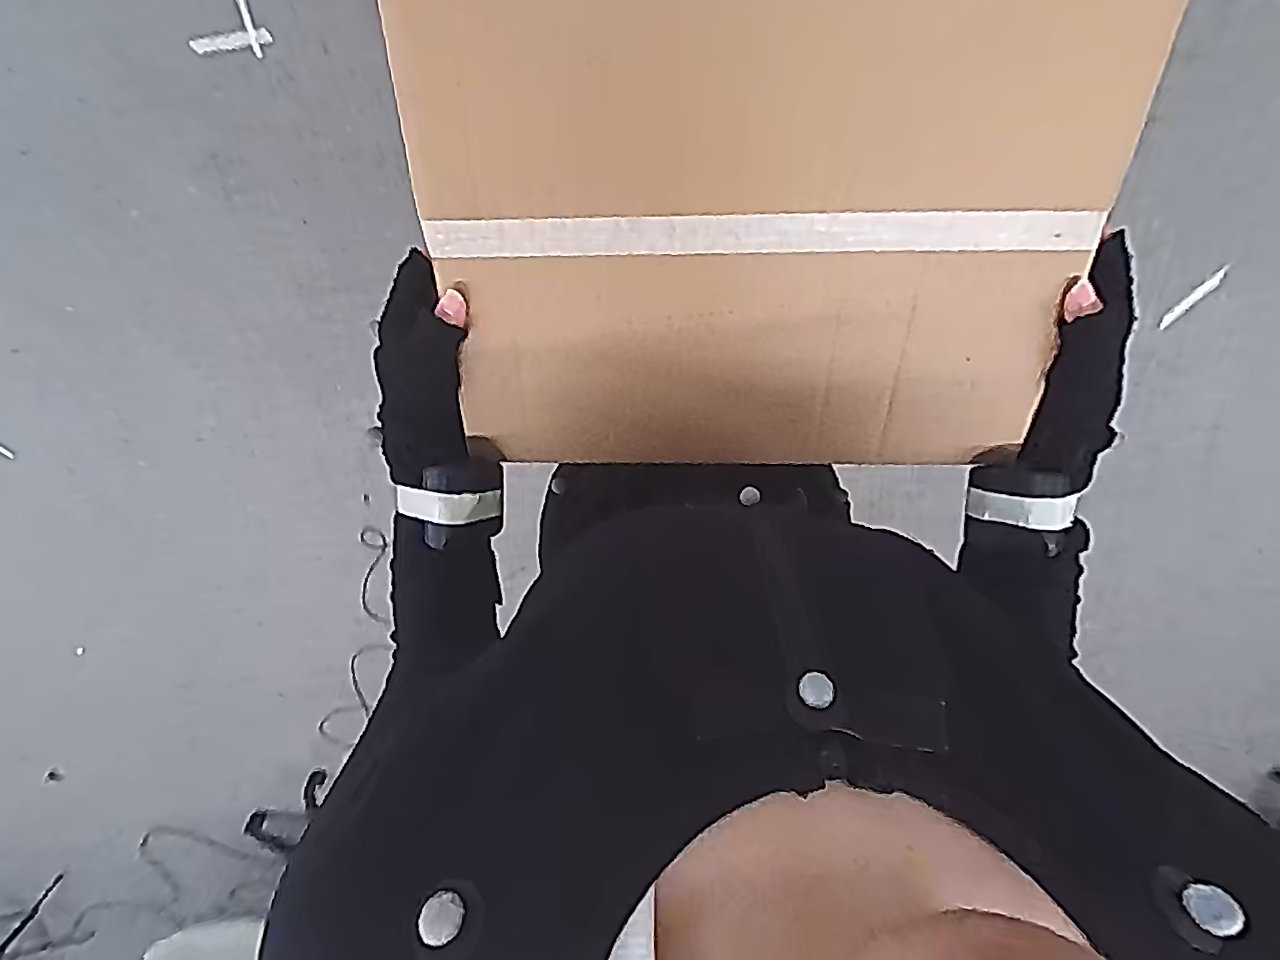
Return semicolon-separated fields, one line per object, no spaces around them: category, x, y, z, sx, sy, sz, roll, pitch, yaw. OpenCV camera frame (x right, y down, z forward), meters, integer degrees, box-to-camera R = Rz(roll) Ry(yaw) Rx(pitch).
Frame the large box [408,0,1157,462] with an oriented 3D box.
large box;0.077;-0.222;0.477;0.408;0.320;0.320;0;121;1
